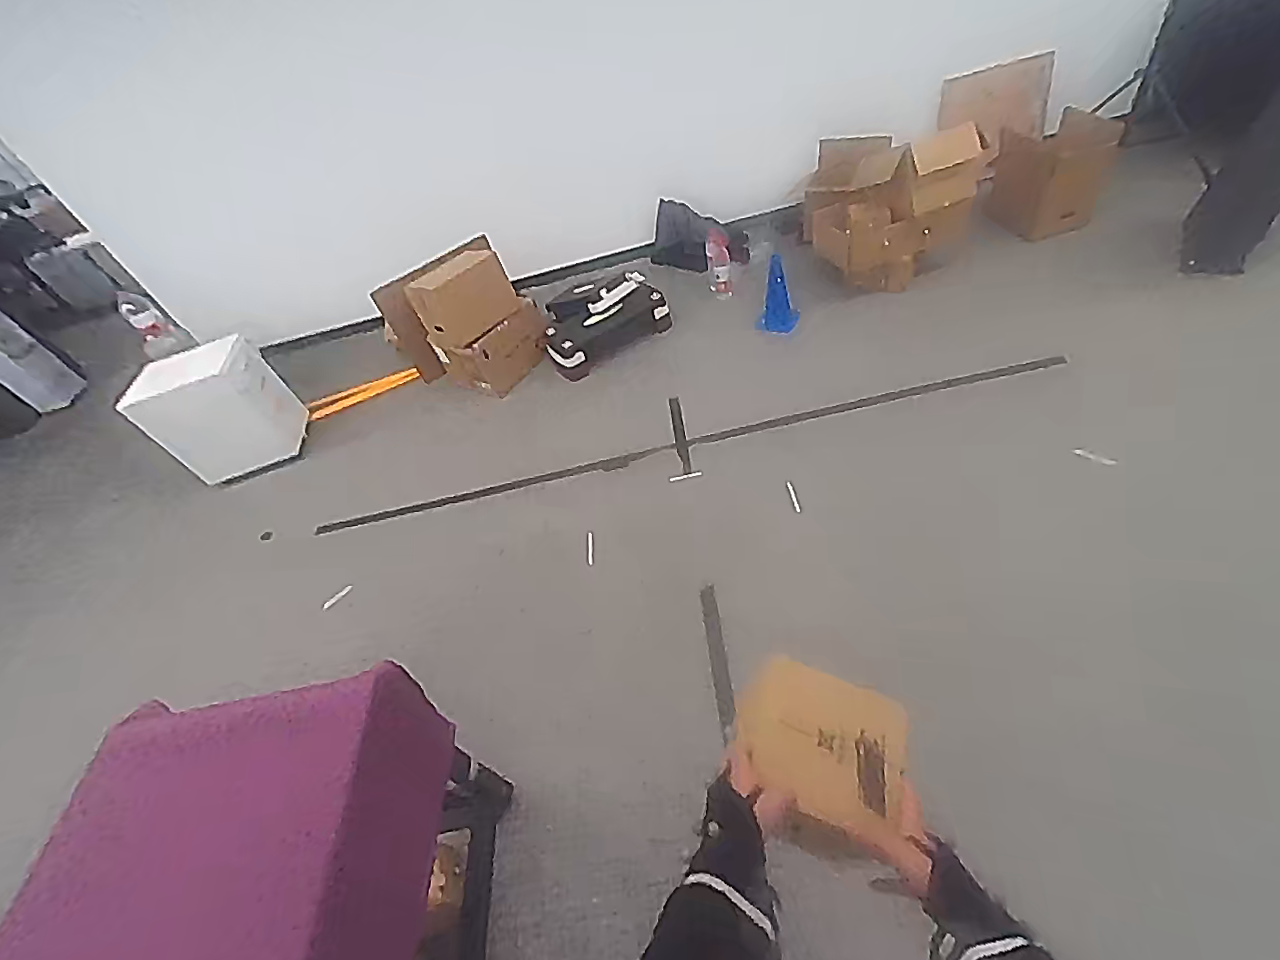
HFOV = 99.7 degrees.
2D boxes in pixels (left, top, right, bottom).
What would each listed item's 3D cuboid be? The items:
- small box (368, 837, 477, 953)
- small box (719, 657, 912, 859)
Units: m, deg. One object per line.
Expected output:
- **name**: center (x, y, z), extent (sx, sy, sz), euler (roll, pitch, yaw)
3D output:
- **small box**: center (-0.549, 1.057, 1.374), extent (0.179, 0.176, 0.168), euler (-34, 48, -13)
- **small box**: center (0.219, 0.361, 0.695), extent (0.179, 0.176, 0.168), euler (20, 52, 9)
